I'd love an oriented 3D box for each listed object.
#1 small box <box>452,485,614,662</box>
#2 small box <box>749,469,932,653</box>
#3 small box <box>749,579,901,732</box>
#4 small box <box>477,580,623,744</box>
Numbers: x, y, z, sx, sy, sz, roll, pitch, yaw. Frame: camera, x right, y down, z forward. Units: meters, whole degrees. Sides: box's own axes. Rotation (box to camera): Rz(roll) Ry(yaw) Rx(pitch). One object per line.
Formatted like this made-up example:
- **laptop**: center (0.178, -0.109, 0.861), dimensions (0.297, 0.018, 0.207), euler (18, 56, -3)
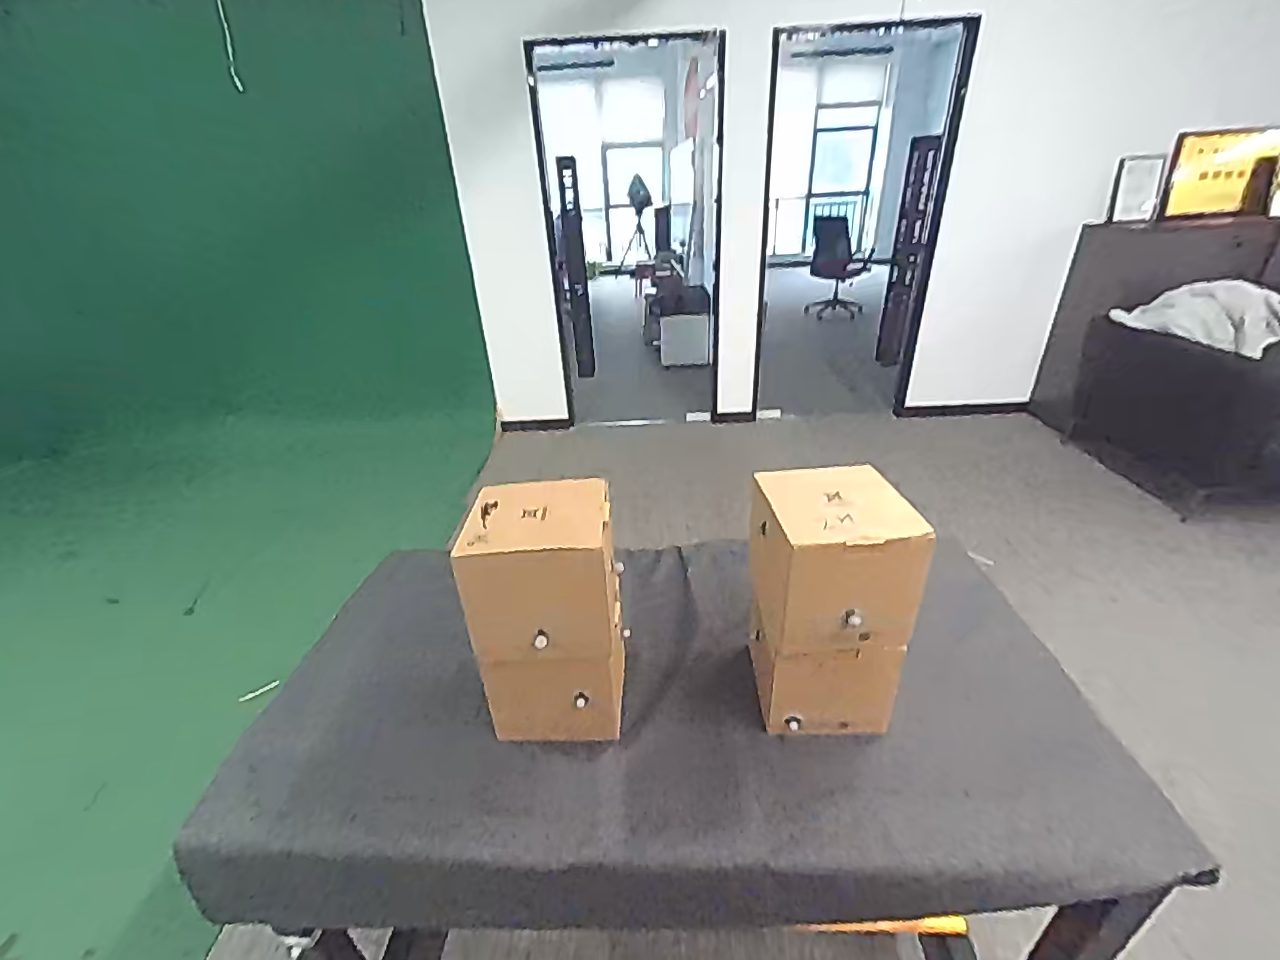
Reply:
- **small box**: center (-0.125, 0.120, 0.714), dimensions (0.179, 0.176, 0.168), euler (-2, 26, -1)
- **small box**: center (0.245, 0.101, 0.713), dimensions (0.168, 0.176, 0.179), euler (-5, 28, -2)
- **small box**: center (0.256, 0.246, 0.791), dimensions (0.168, 0.176, 0.179), euler (-1, 27, 2)
- **small box**: center (-0.118, 0.263, 0.795), dimensions (0.179, 0.176, 0.168), euler (-2, 26, 3)
